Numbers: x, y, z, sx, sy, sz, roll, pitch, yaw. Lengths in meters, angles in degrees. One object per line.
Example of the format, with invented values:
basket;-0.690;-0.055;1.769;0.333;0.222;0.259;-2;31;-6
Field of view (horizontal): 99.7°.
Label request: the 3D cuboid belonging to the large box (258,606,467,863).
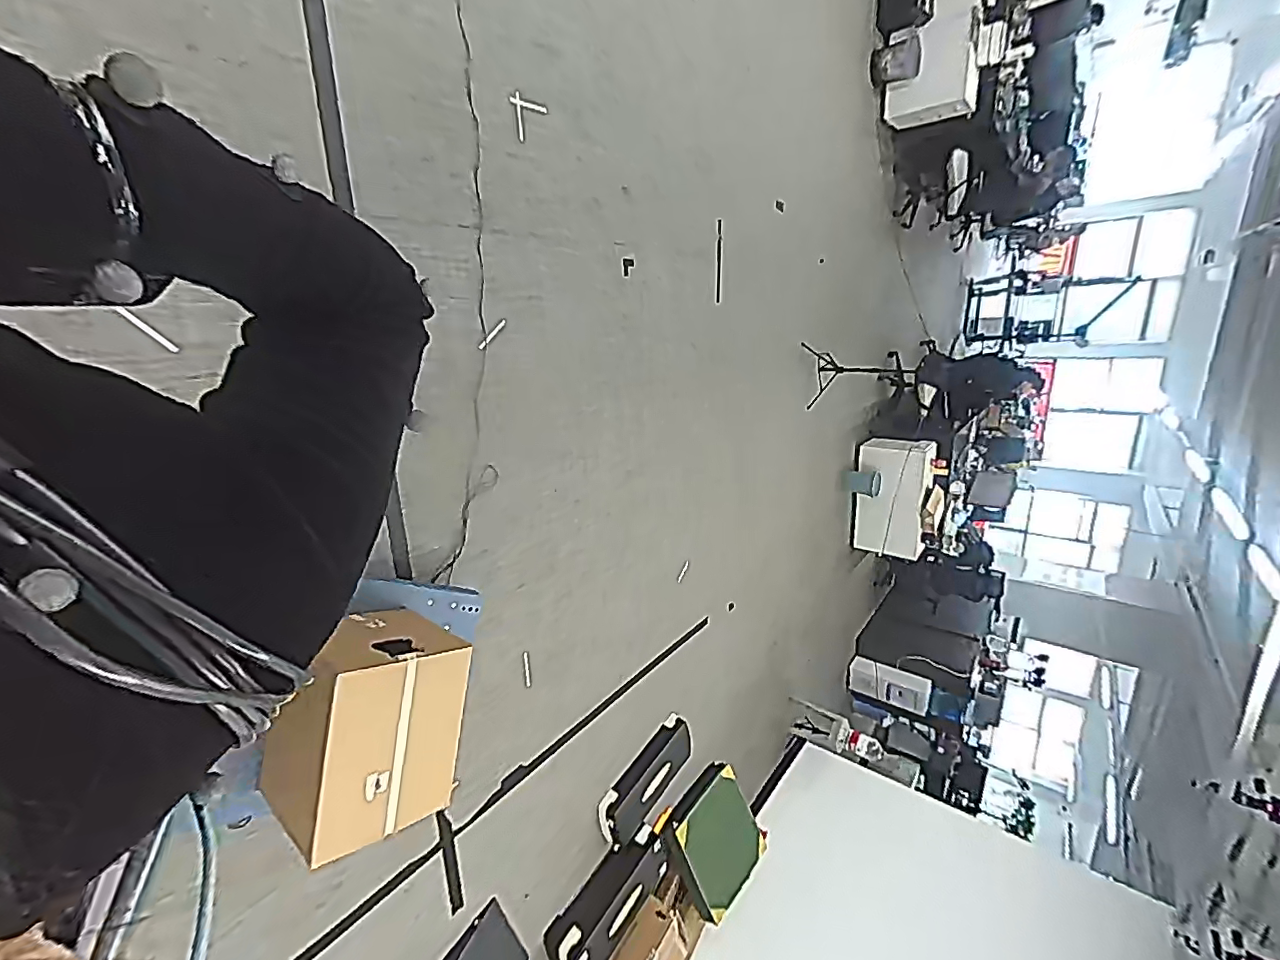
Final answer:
large box;-0.648;0.550;1.267;0.320;0.320;0.408;6;94;-51
